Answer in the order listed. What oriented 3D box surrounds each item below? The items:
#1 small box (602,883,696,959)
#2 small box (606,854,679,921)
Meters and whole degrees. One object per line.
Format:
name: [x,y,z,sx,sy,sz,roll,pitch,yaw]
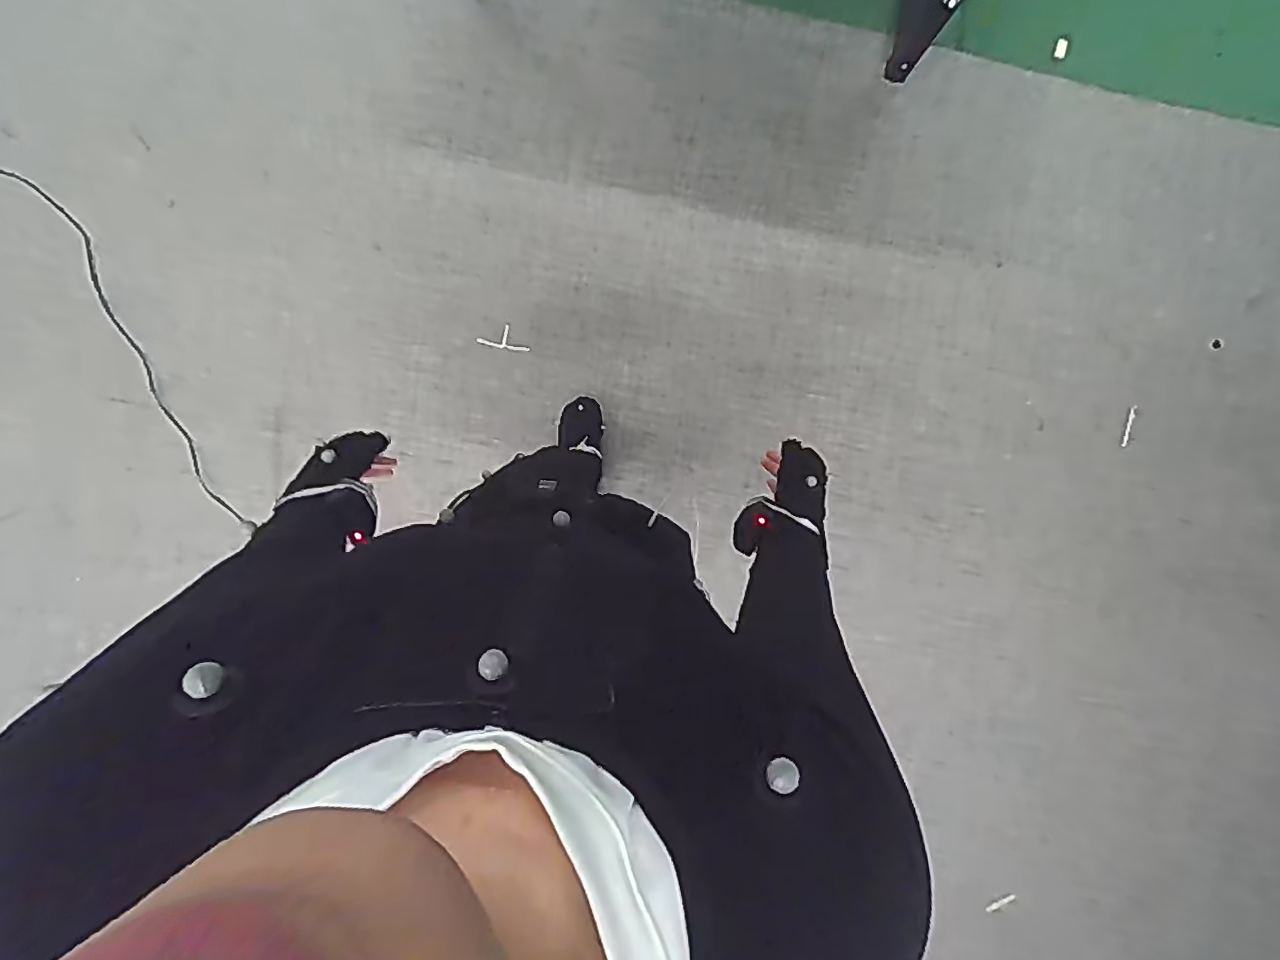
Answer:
small box: [0.016,1.135,1.302,0.168,0.176,0.179,40,92,-4]
small box: [0.001,1.142,1.449,0.179,0.176,0.168,6,93,-3]
